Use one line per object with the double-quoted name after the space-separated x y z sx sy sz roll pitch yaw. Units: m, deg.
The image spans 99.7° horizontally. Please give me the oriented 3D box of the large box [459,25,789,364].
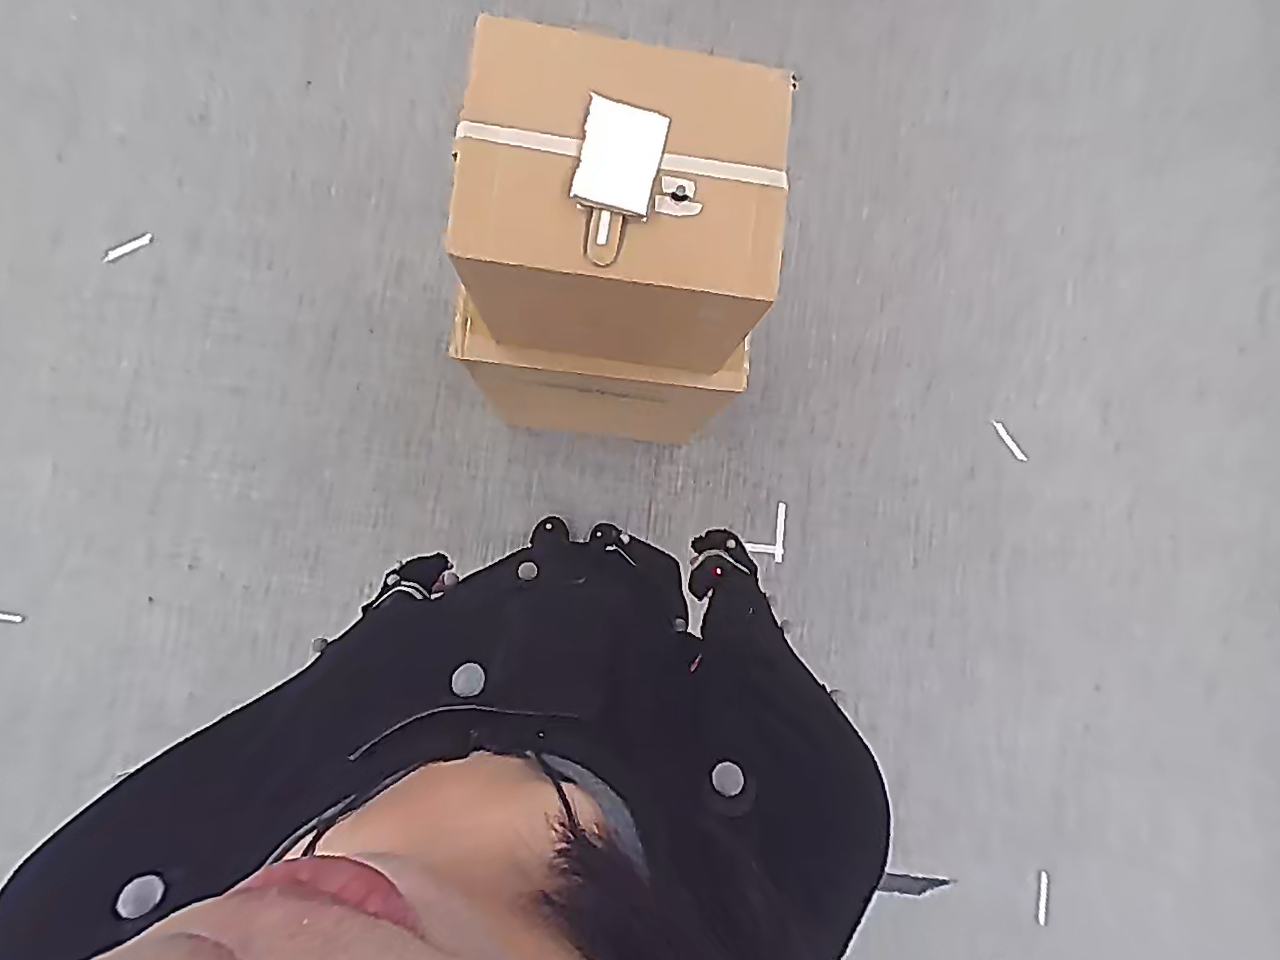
-0.028 -0.391 0.830 0.408 0.320 0.320 6 84 -6 "large box"
